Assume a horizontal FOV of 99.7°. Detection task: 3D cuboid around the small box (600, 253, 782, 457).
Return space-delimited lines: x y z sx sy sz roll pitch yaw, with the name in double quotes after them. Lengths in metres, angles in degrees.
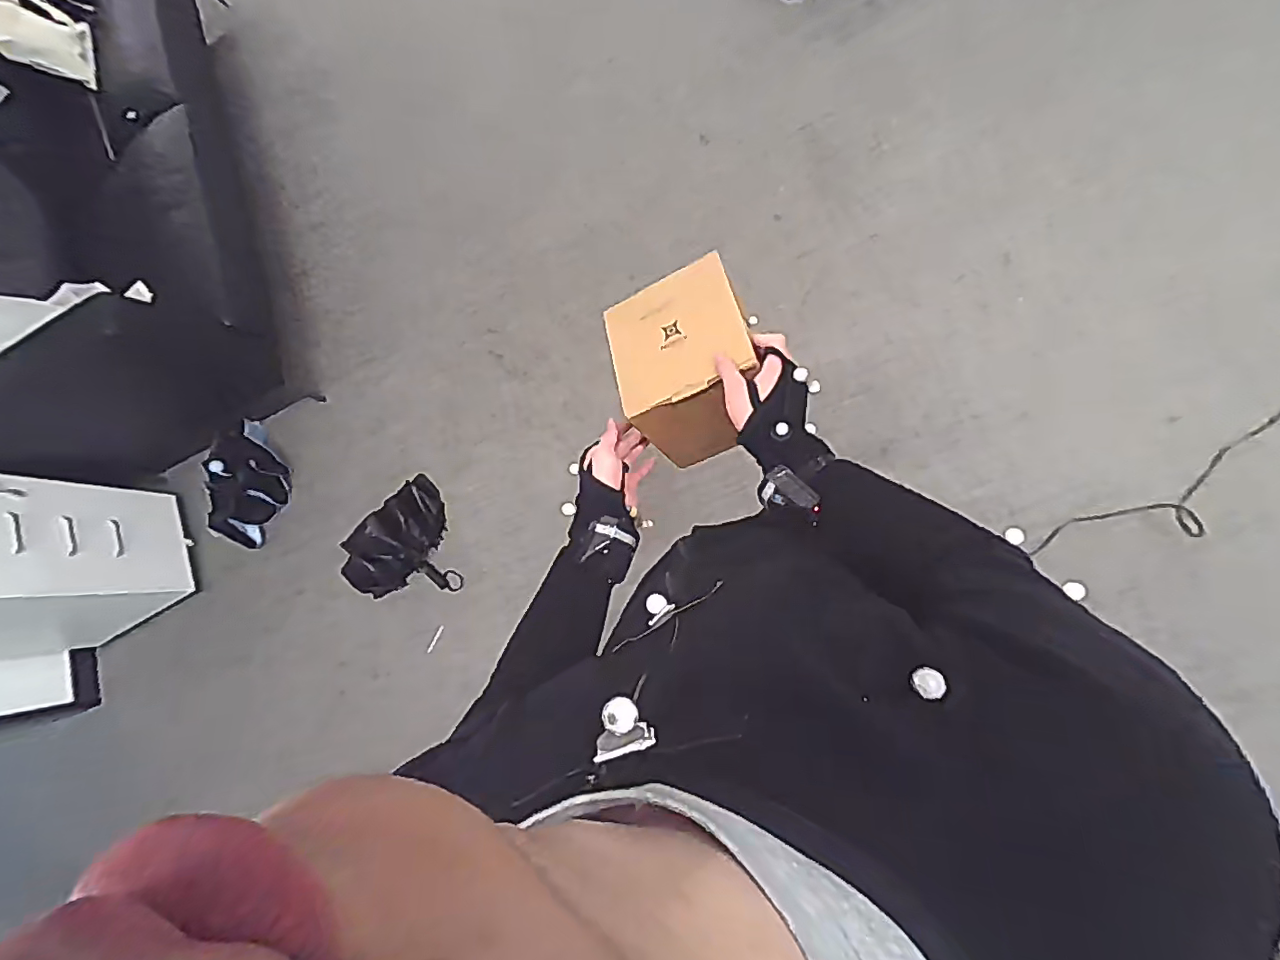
0.070 -0.147 0.708 0.168 0.176 0.179 -22 60 20 "small box"
